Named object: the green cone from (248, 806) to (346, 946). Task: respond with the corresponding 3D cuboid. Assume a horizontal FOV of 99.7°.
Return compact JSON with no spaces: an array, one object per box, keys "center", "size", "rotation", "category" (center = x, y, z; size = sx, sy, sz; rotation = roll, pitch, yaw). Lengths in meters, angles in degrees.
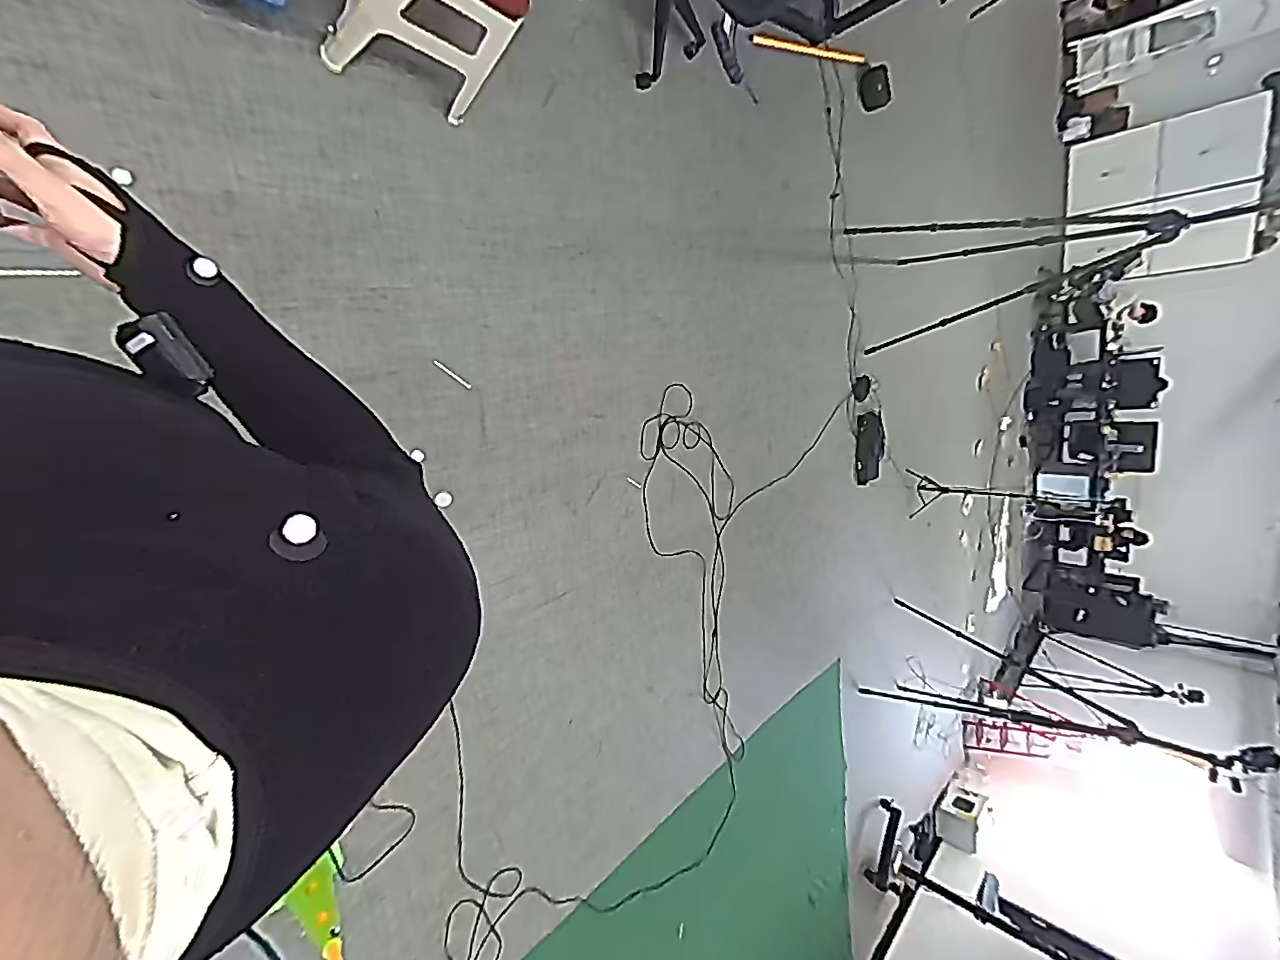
[{"center":[-0.847,1.070,1.401],"size":[0.202,0.368,0.200],"rotation":[-18,108,-42],"category":"green cone"}]
